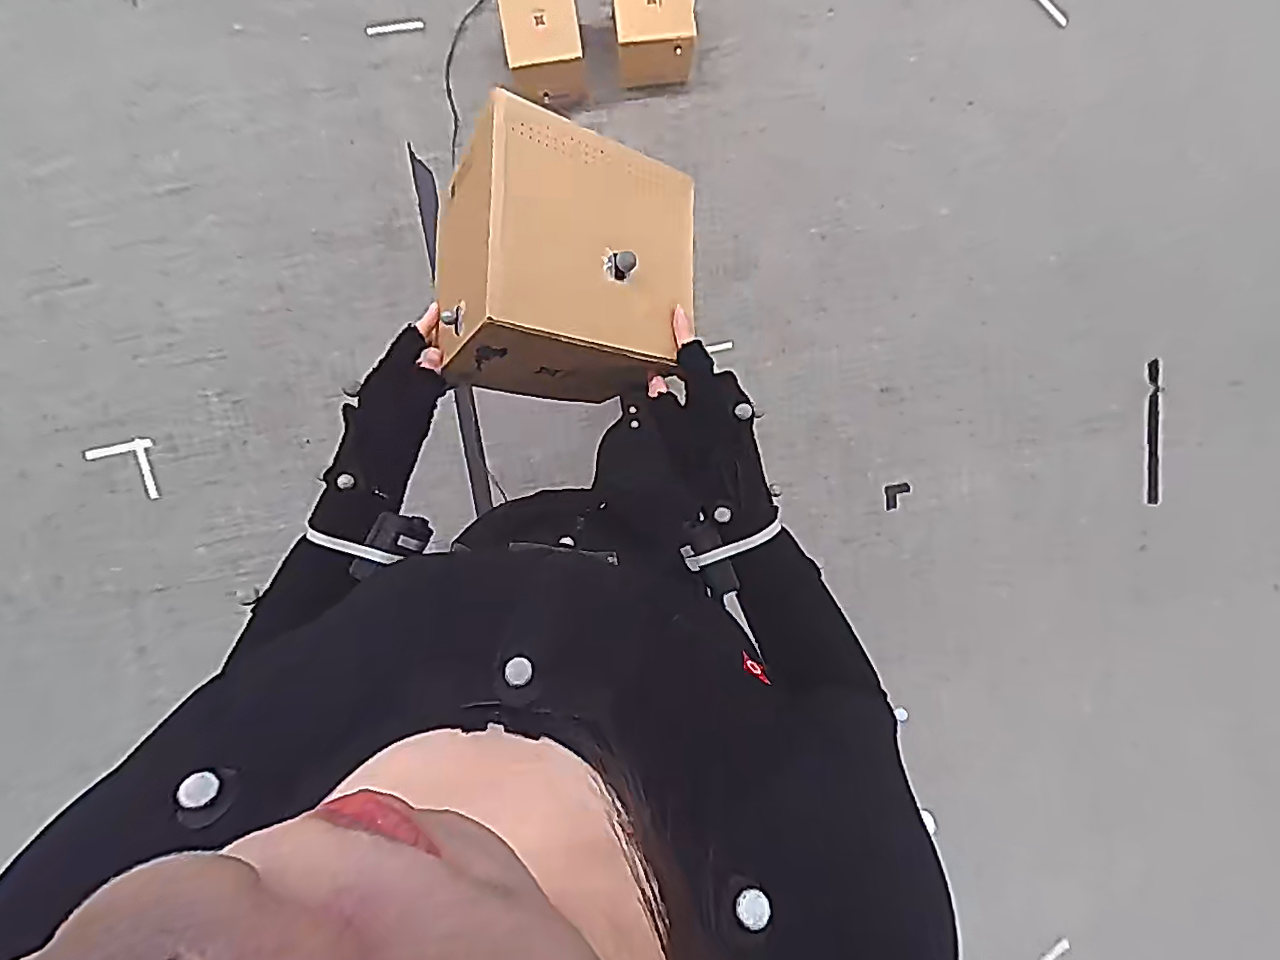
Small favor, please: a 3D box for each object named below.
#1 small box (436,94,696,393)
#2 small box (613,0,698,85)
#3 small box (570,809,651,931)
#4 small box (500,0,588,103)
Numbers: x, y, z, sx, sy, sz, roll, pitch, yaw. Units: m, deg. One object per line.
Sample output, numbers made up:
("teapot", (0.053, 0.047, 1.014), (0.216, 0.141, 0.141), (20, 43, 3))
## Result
("small box", (-0.068, -0.184, 0.472), (0.179, 0.168, 0.176), (3, 83, -33))
("small box", (0.030, -1.051, 1.248), (0.179, 0.176, 0.168), (-7, 98, -2))
("small box", (-0.069, 0.937, 1.318), (0.168, 0.176, 0.179), (-10, 98, 1))
("small box", (-0.217, -1.007, 1.245), (0.168, 0.176, 0.179), (-8, 98, 0))
